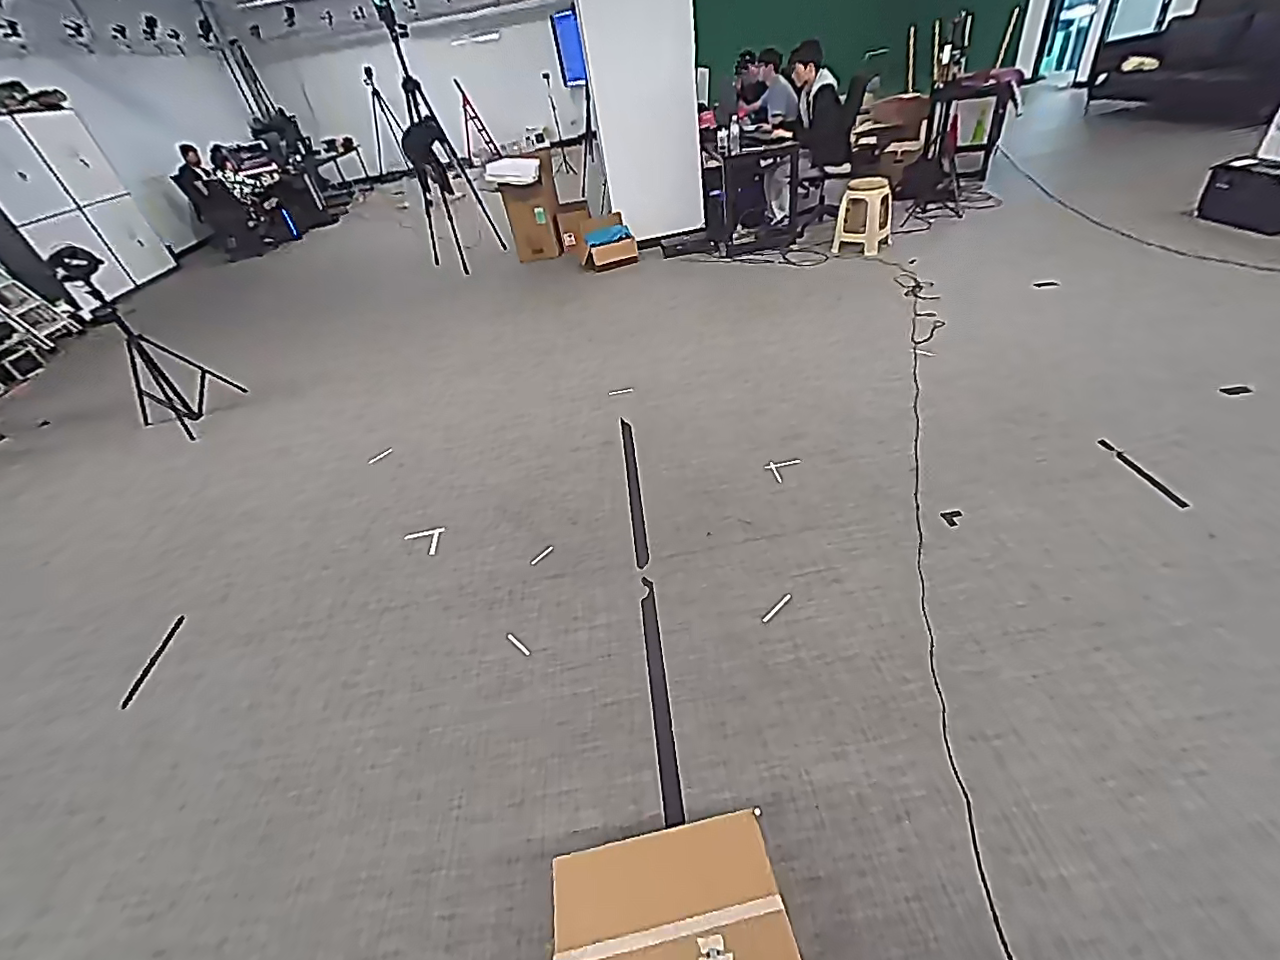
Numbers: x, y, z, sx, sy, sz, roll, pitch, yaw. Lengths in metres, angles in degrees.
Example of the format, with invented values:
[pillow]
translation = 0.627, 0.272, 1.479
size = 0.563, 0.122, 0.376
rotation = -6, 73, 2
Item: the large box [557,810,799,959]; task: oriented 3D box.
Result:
[large box]
translation = 0.077, 0.906, 1.037
size = 0.408, 0.320, 0.320
rotation = -13, 38, -2
